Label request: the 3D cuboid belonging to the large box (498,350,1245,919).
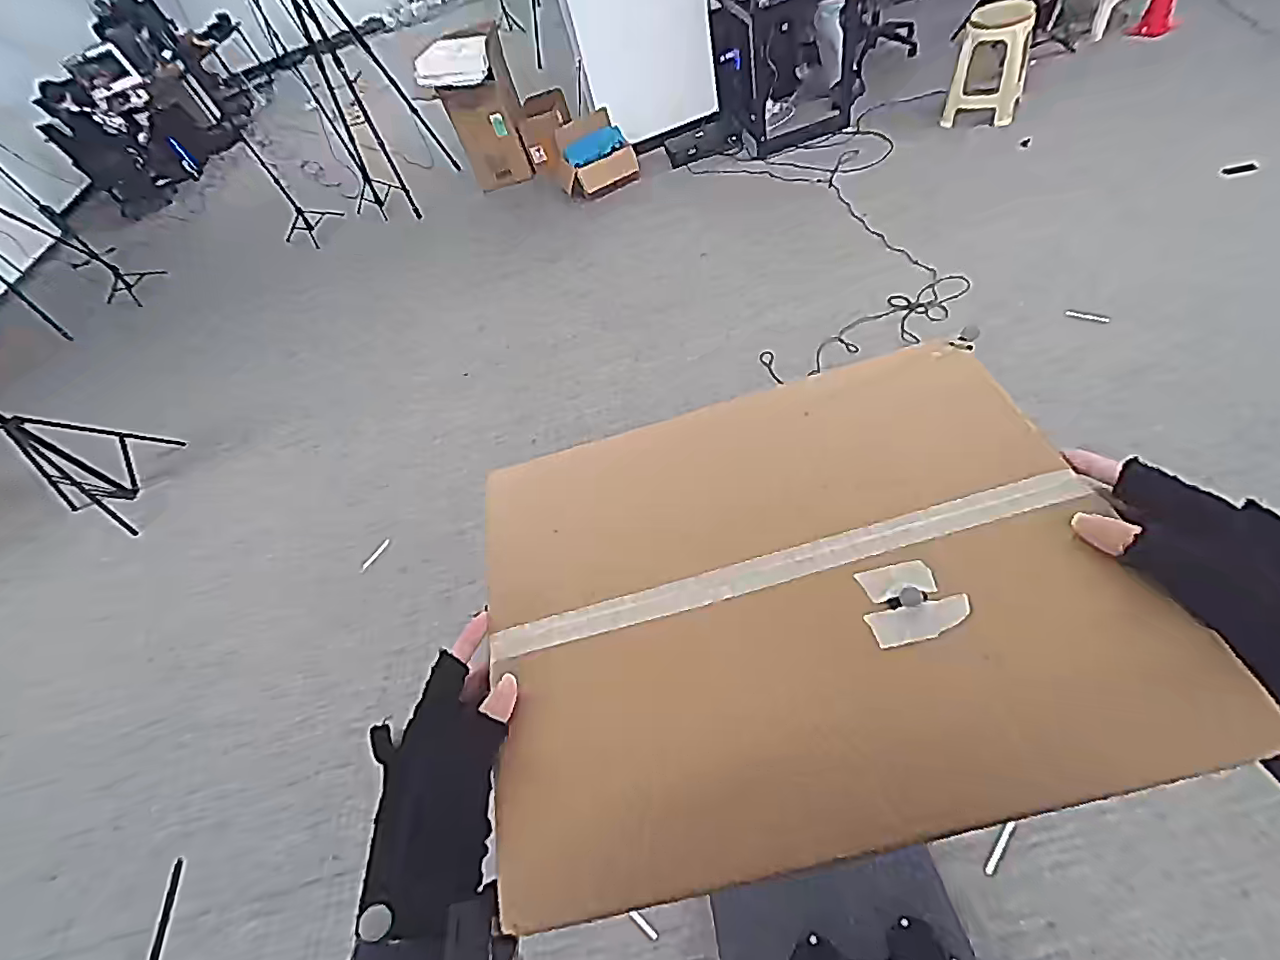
[{"bbox_3d":[0.125,0.148,0.493,0.408,0.320,0.320,-16,54,3],"label":"large box"}]
